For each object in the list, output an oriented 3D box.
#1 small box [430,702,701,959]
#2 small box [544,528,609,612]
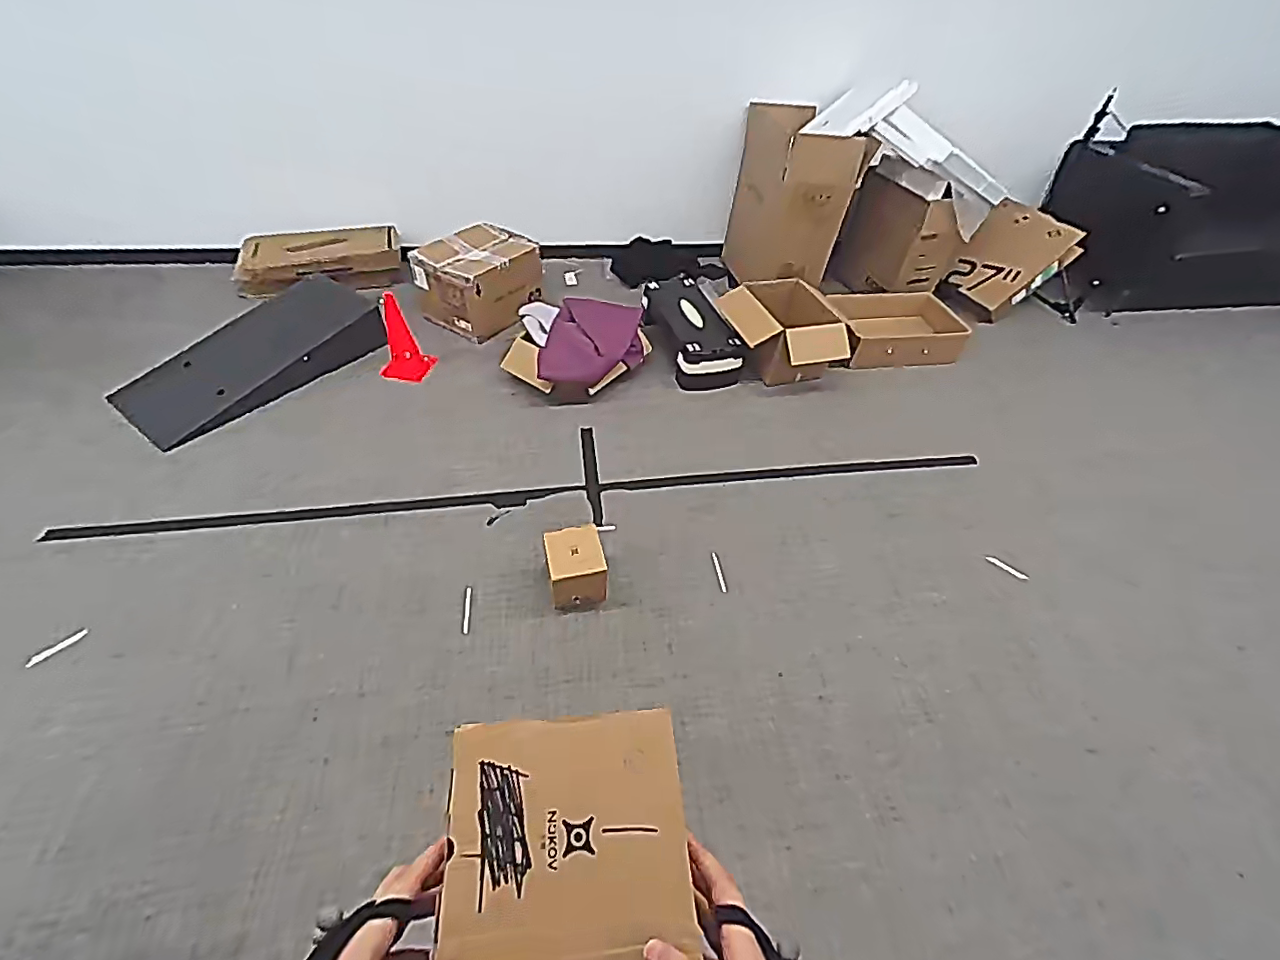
[{"bbox_3d":[-0.055,0.299,0.451,0.179,0.176,0.168,-2,53,-6],"label":"small box"},{"bbox_3d":[-0.197,0.278,1.660,0.168,0.176,0.179,-10,49,-13],"label":"small box"}]
